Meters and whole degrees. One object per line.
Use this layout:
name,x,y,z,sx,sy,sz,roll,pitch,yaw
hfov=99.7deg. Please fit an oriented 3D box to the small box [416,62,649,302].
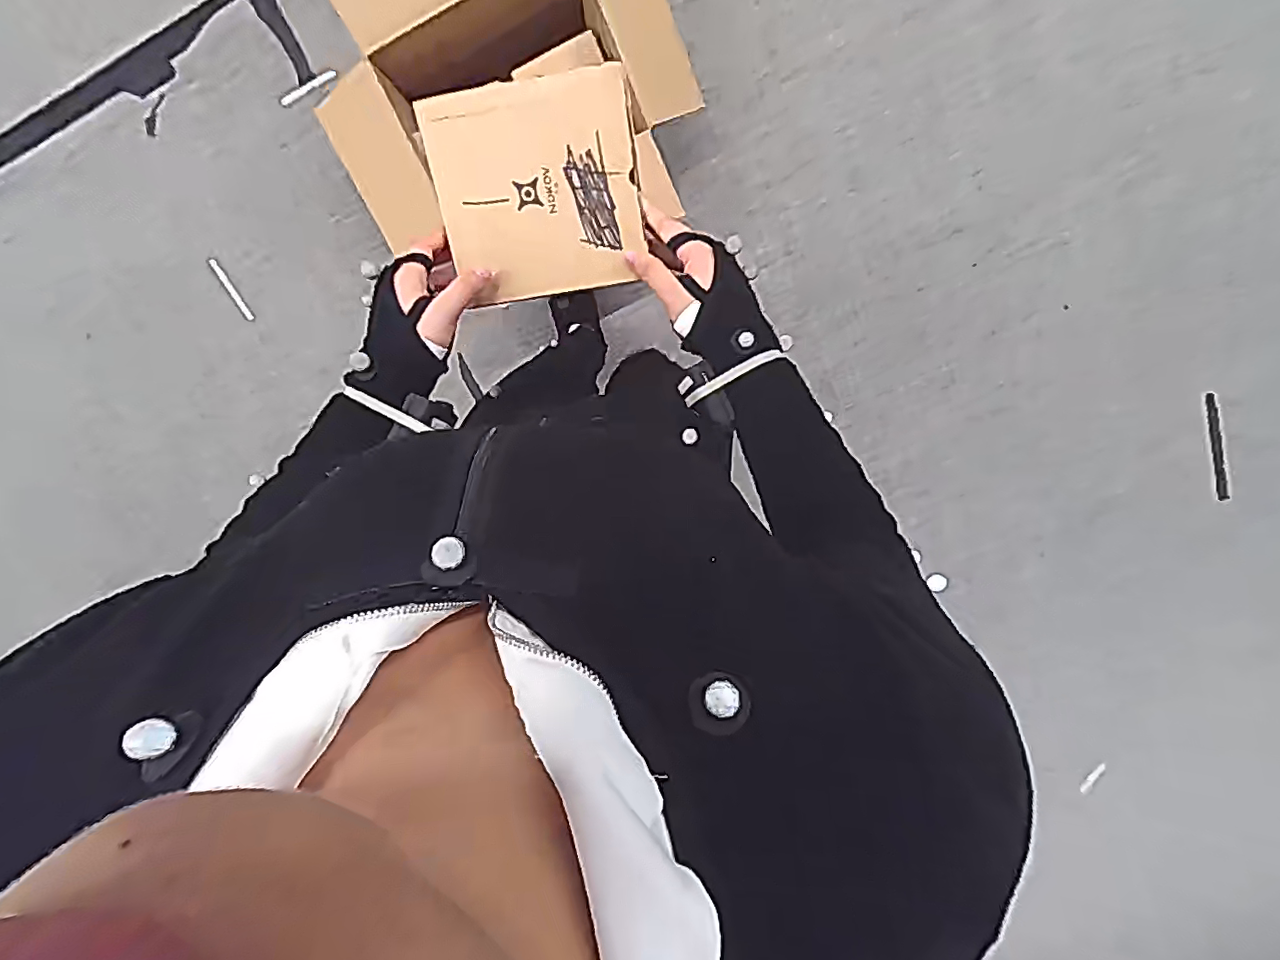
small box,-0.087,-0.277,0.537,0.179,0.176,0.168,-7,110,5
